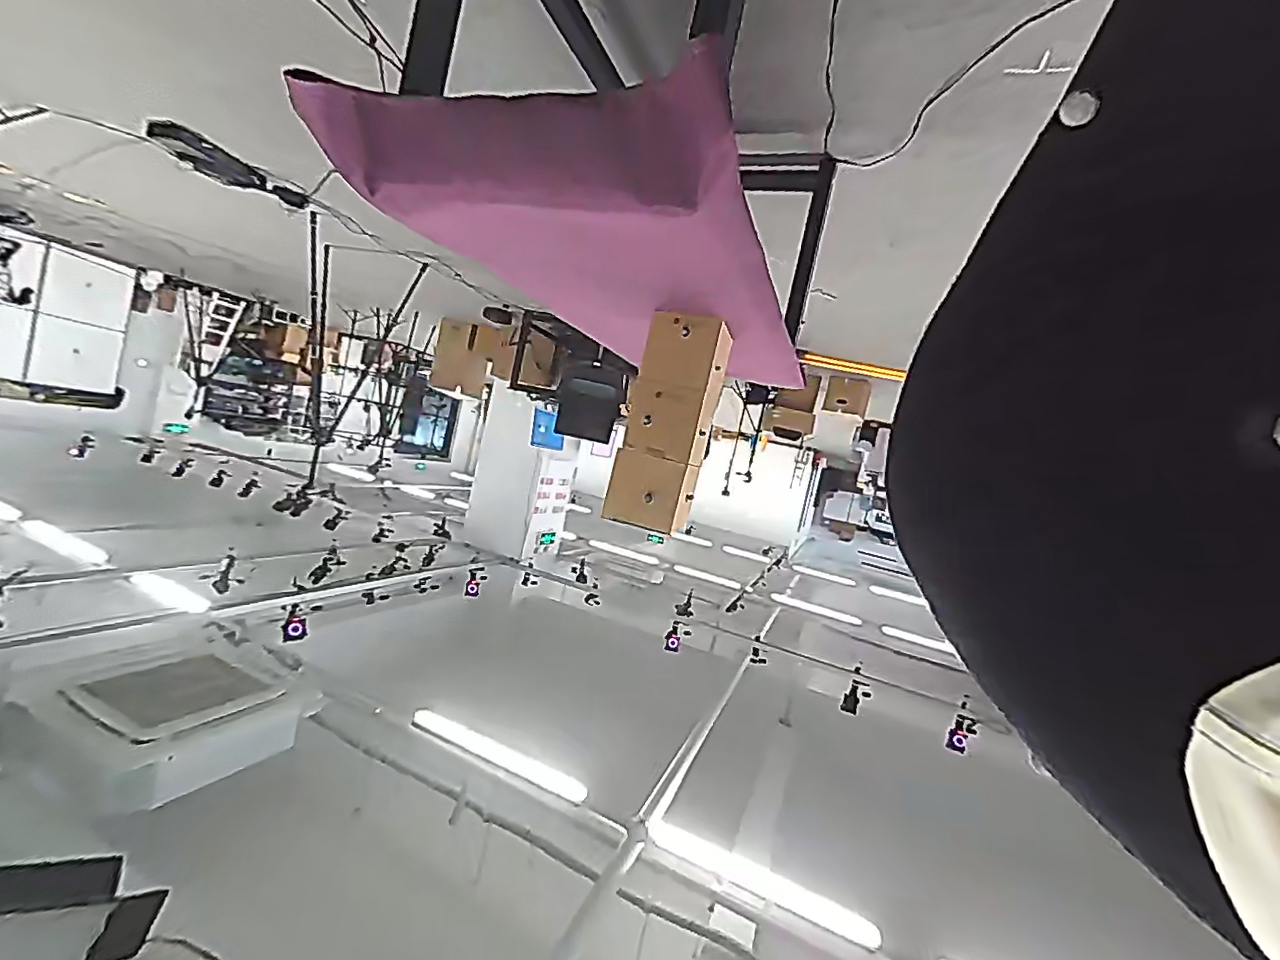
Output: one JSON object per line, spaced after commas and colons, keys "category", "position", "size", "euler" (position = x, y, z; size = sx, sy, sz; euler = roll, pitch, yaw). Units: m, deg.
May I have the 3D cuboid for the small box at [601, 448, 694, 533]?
{"category": "small box", "position": [0.026, 0.021, 1.310], "size": [0.179, 0.176, 0.168], "euler": [14, -178, 16]}

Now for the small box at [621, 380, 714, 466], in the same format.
{"category": "small box", "position": [0.071, -0.136, 1.302], "size": [0.168, 0.176, 0.179], "euler": [14, -178, 16]}
